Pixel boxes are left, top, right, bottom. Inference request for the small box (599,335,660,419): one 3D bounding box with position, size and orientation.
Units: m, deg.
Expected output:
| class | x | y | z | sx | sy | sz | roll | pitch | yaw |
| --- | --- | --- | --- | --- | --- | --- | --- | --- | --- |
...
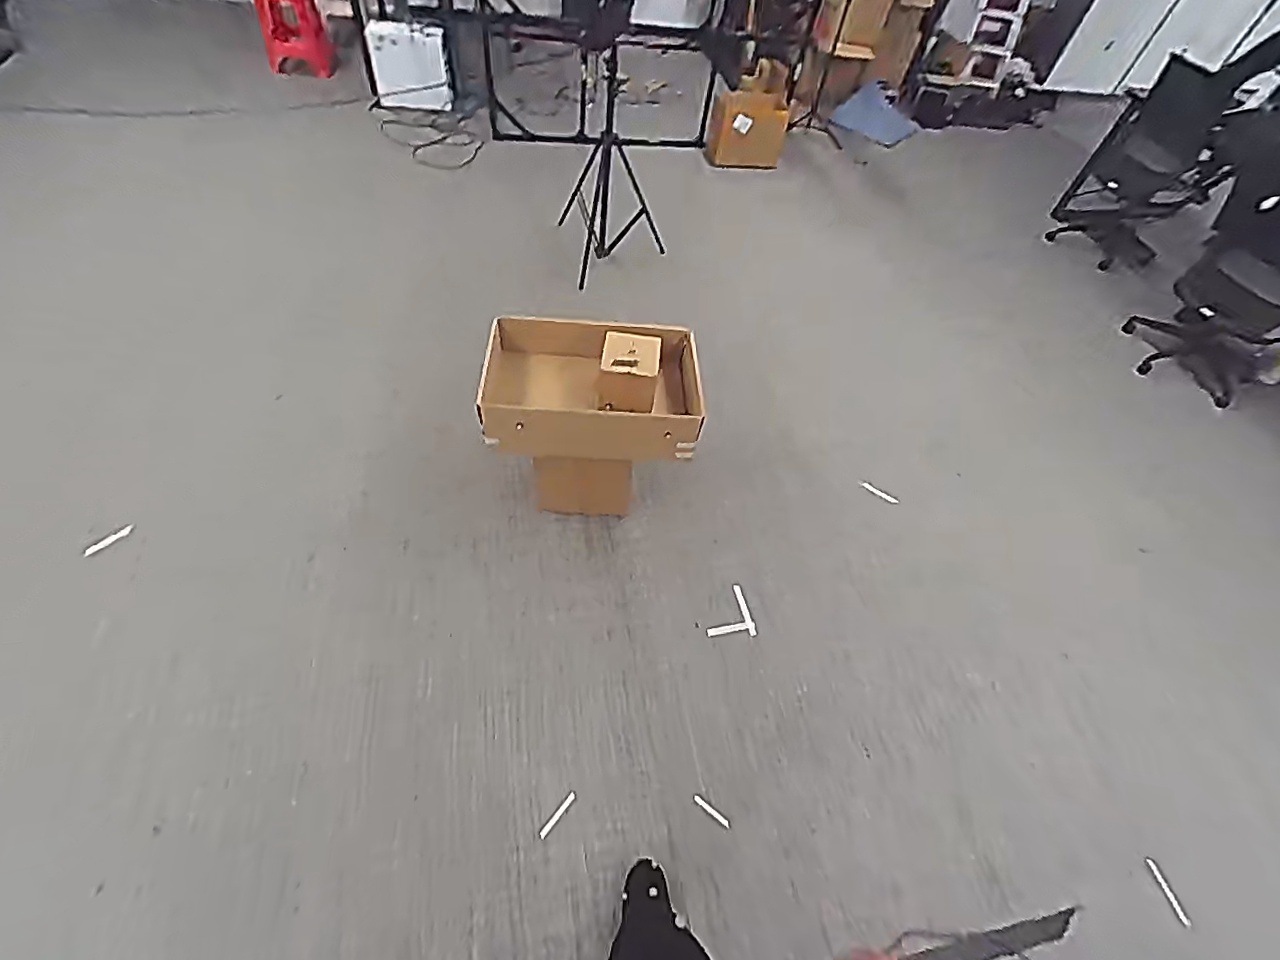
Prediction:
| class | x | y | z | sx | sy | sz | roll | pitch | yaw |
| --- | --- | --- | --- | --- | --- | --- | --- | --- | --- |
| small box | -0.033 | -0.305 | 1.625 | 0.168 | 0.176 | 0.179 | 7 | 52 | -2 |
